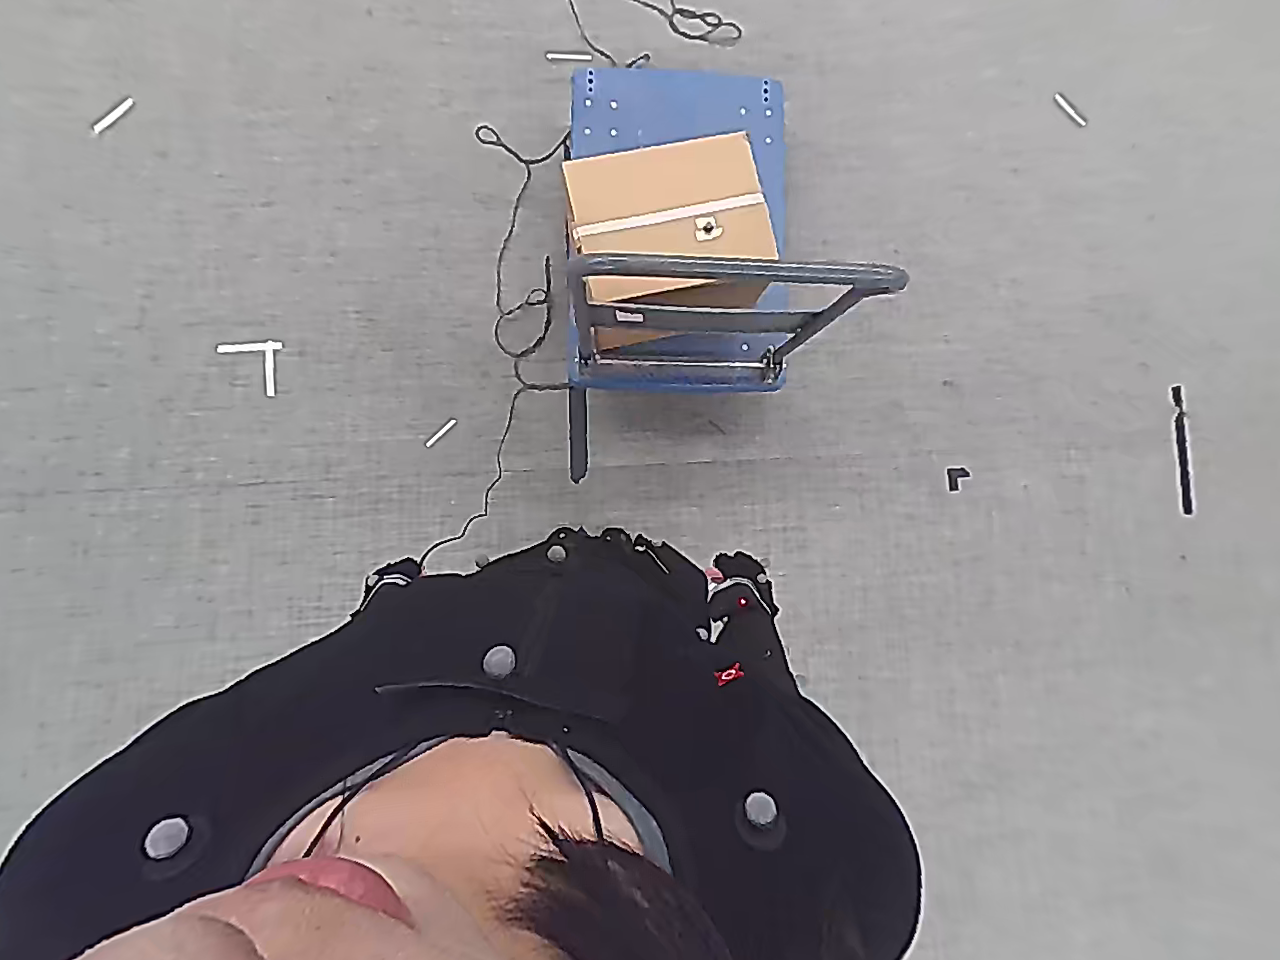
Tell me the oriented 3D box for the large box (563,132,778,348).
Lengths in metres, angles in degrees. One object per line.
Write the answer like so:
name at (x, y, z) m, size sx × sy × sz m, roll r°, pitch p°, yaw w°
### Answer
large box at (0.054, -0.542, 1.277) m, size 0.408 × 0.320 × 0.320 m, roll -13°, pitch 87°, yaw -6°
